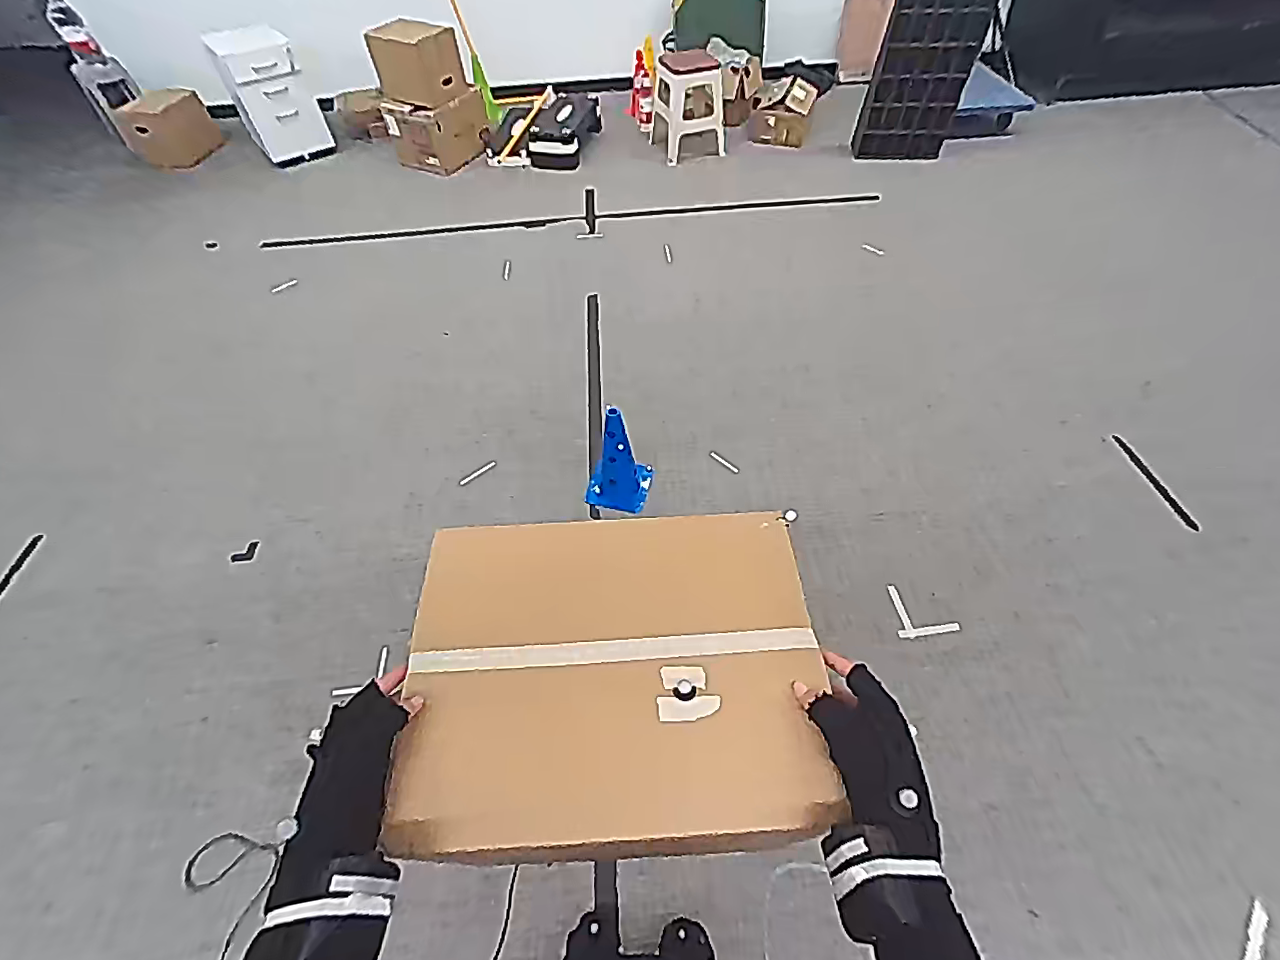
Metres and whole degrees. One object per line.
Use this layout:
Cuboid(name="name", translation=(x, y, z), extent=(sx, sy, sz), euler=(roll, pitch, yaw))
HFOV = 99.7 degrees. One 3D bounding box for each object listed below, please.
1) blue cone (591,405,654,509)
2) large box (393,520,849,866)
Cuboid(name="blue cone", translation=(-0.064, -0.086, 1.727), extent=(0.193, 0.380, 0.192), euler=(13, 54, 11))
Cuboid(name="large box", translation=(-0.022, 0.269, 0.670), extent=(0.408, 0.320, 0.320), euler=(-2, 53, -1))
